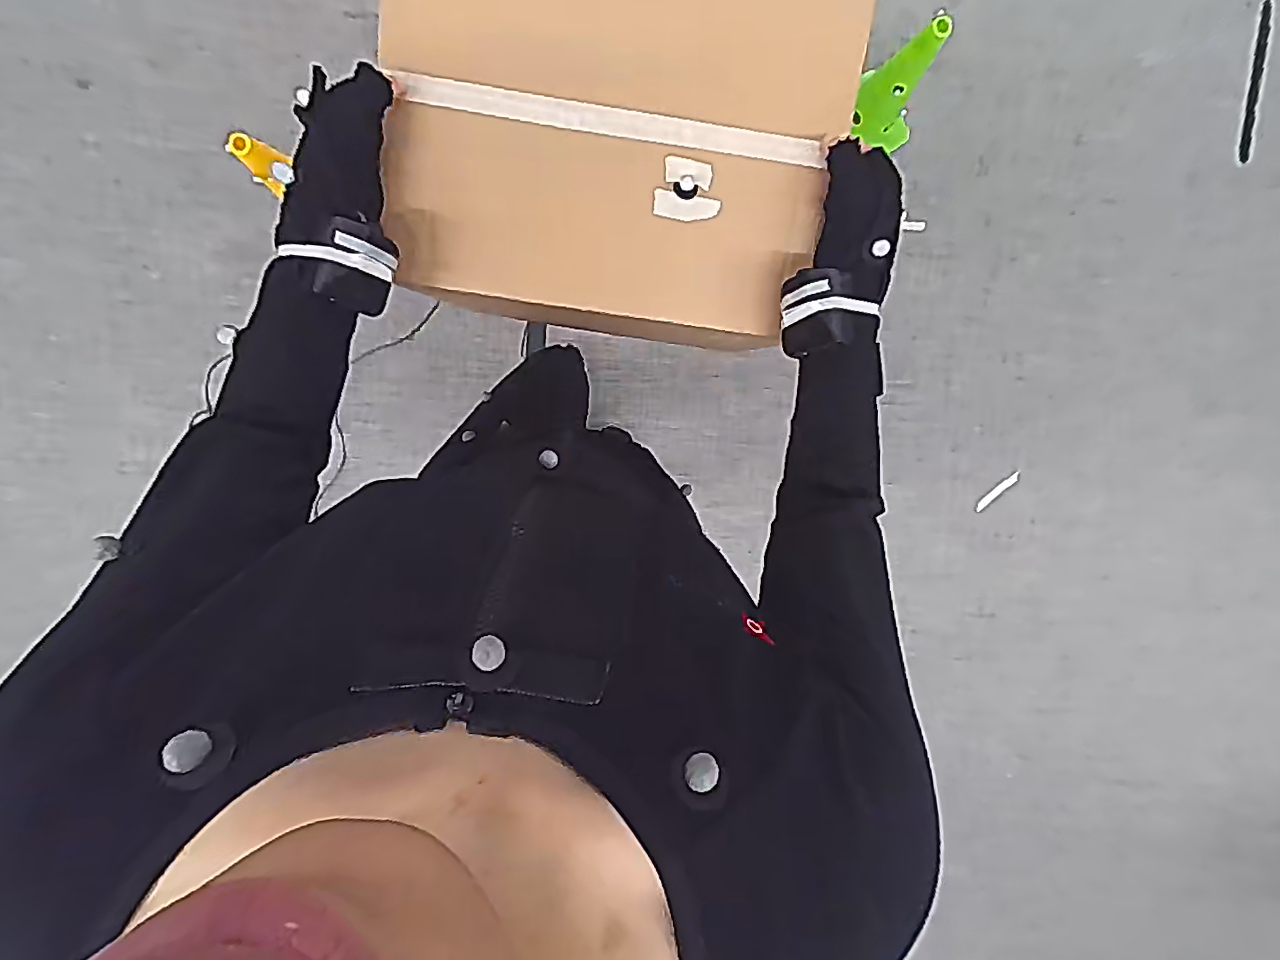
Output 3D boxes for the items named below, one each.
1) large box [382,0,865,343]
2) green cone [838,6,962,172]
[{"bbox_3d":[-0.027,-0.344,0.617,0.408,0.320,0.320,7,102,-4],"label":"large box"},{"bbox_3d":[0.581,-0.899,1.208,0.202,0.368,0.200,-34,98,1],"label":"green cone"}]
